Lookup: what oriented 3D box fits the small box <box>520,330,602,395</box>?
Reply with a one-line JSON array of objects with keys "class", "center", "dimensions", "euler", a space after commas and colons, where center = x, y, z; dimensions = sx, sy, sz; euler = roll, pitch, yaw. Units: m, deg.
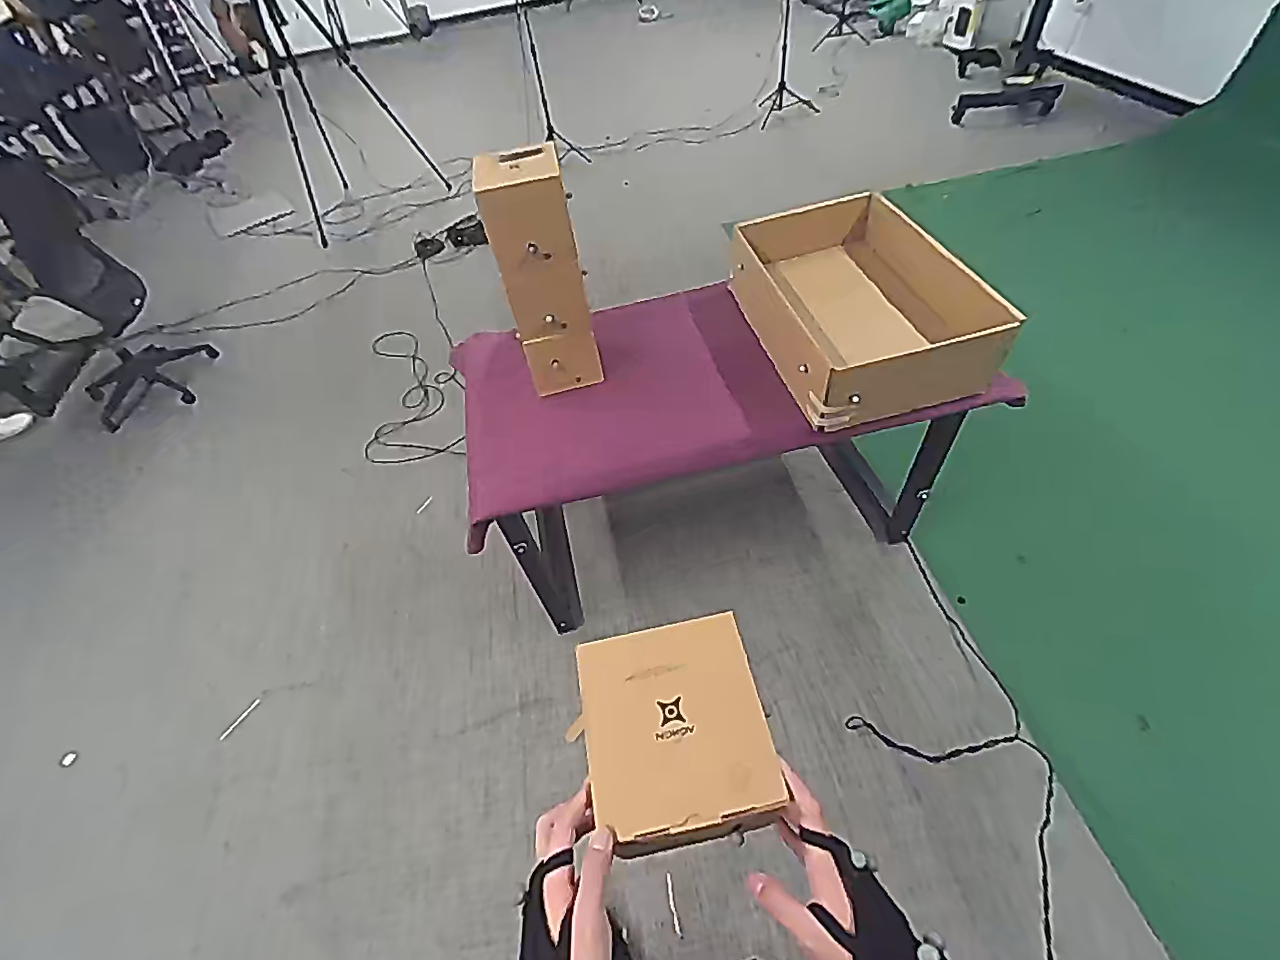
[{"class": "small box", "center": [-0.198, -0.330, 1.351], "dimensions": [0.168, 0.176, 0.179], "euler": [-15, 50, -4]}]

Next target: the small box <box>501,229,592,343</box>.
[{"class": "small box", "center": [-0.210, -0.438, 1.227], "dimensions": [0.168, 0.176, 0.179], "euler": [-12, 50, -1]}]

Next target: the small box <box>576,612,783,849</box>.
[{"class": "small box", "center": [0.036, 0.264, 0.558], "dimensions": [0.168, 0.176, 0.179], "euler": [-11, 51, -2]}]
